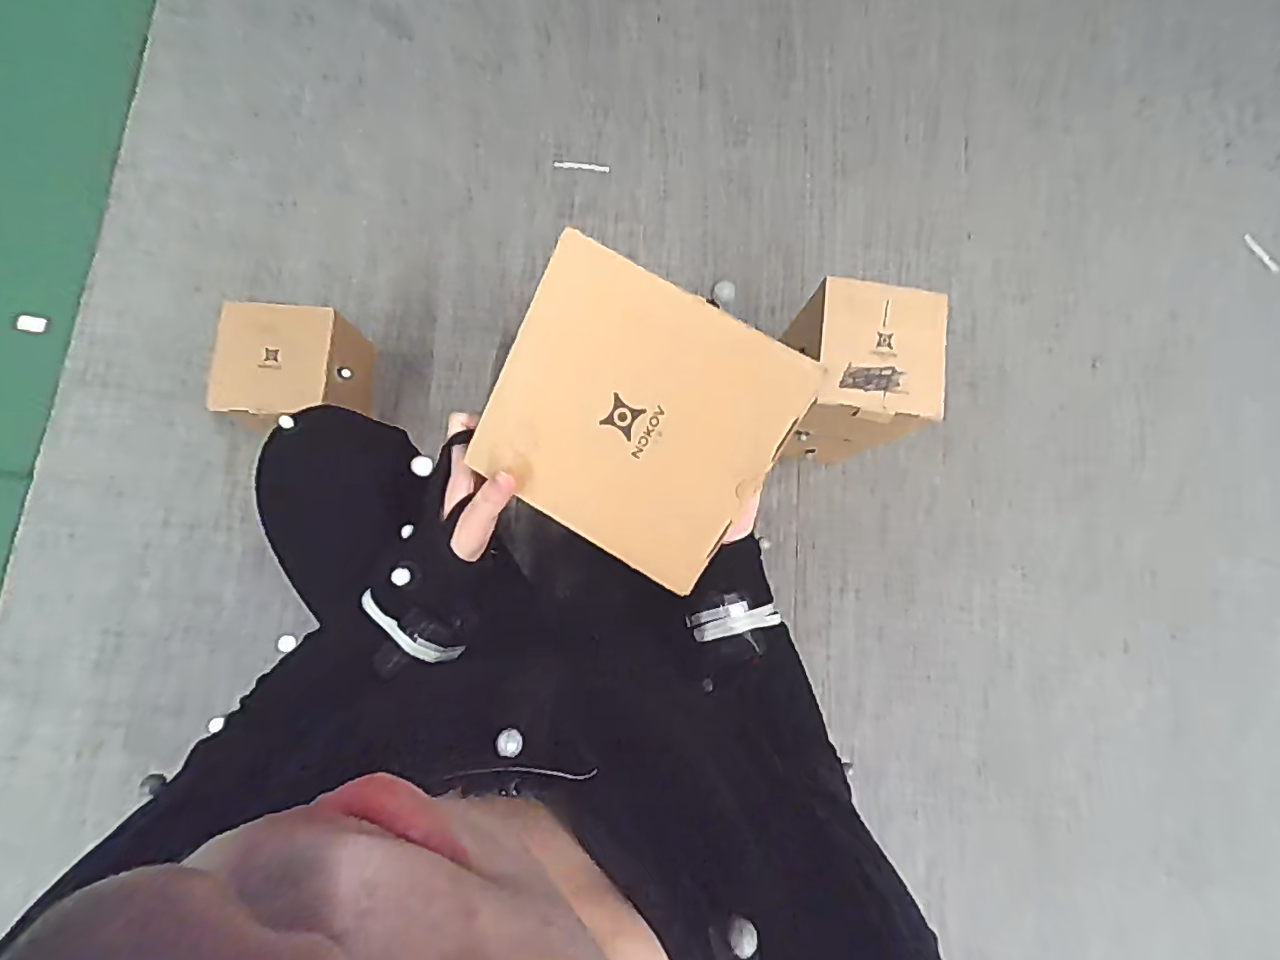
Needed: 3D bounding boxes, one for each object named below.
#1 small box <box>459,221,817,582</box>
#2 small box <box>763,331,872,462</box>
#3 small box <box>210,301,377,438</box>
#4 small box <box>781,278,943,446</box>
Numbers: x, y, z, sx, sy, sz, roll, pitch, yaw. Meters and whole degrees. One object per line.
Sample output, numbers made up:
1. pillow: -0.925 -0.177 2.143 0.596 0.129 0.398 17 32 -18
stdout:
1. small box: 0.005 -0.059 0.409 0.179 0.176 0.168 31 107 3
2. small box: 0.295 -0.134 0.938 0.168 0.176 0.179 7 81 -2
3. small box: -0.560 -0.174 0.900 0.168 0.176 0.179 3 80 -3
4. small box: 0.302 -0.156 0.774 0.168 0.176 0.179 8 80 -2
